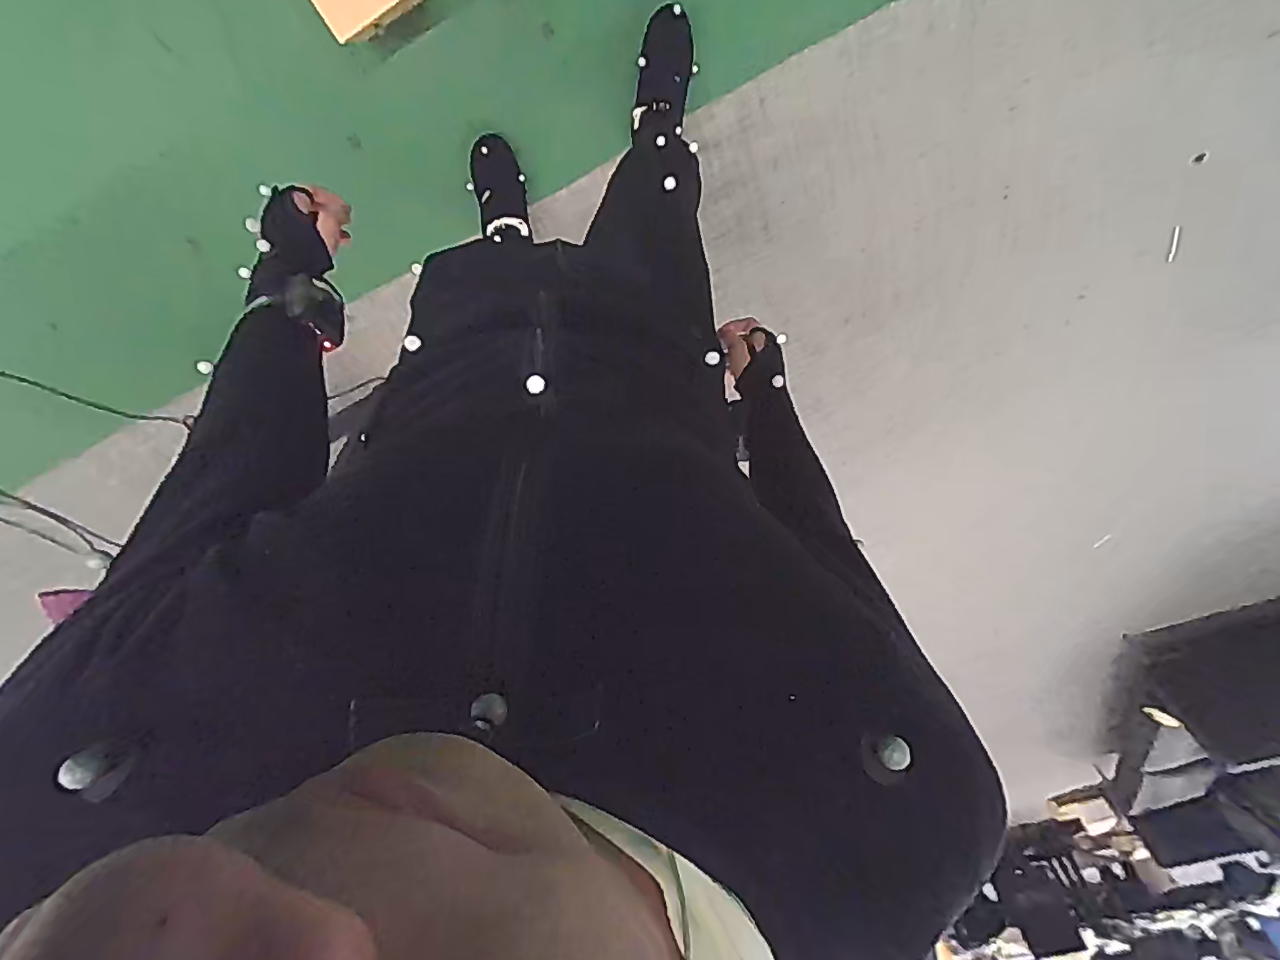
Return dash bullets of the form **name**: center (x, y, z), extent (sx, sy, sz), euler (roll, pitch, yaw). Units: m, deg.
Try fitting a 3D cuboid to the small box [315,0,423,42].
- **small box**: center (-0.512, -0.940, 0.978), extent (0.168, 0.176, 0.179), euler (-23, 128, 14)
